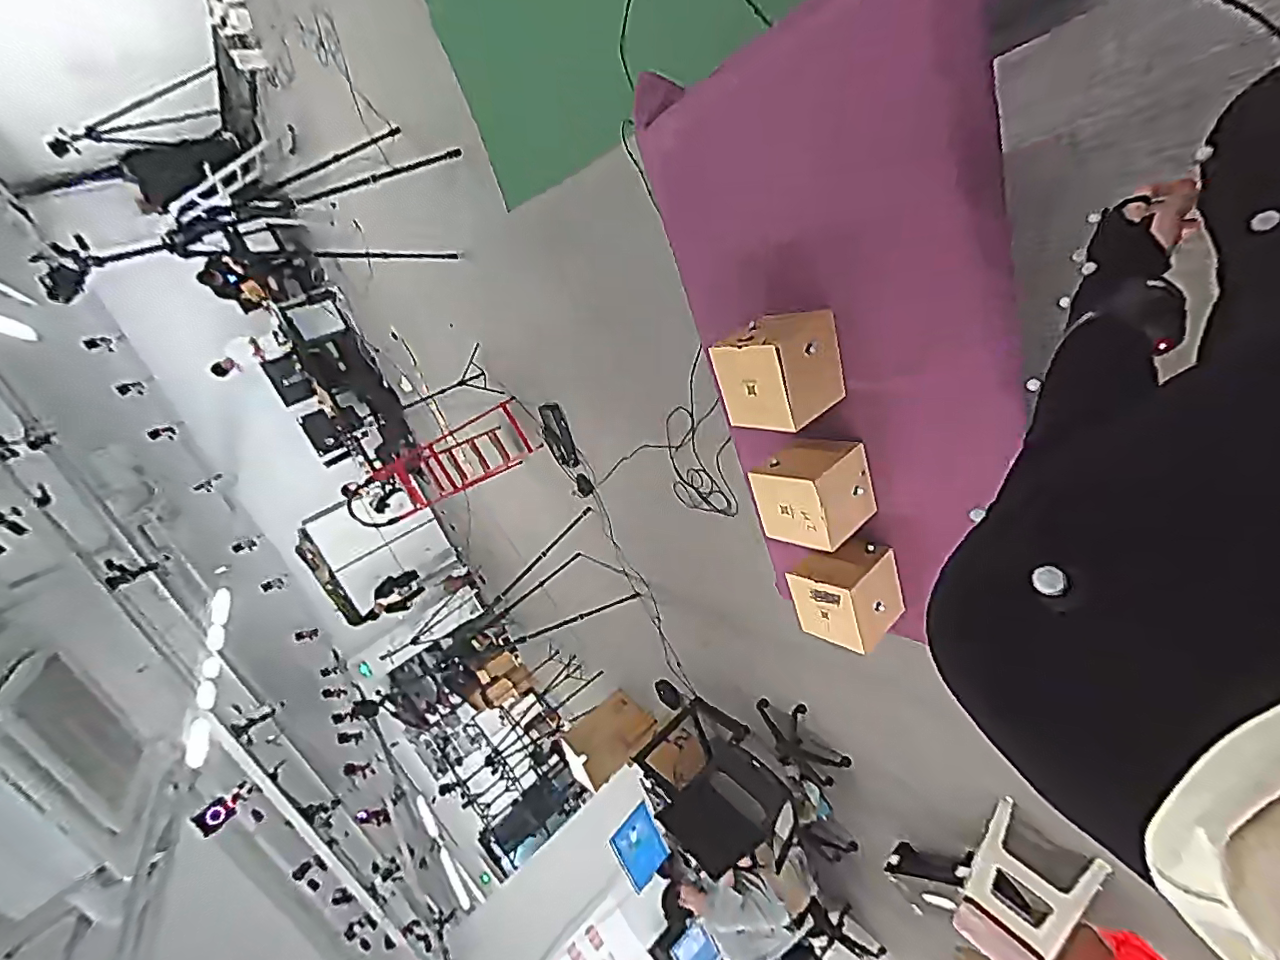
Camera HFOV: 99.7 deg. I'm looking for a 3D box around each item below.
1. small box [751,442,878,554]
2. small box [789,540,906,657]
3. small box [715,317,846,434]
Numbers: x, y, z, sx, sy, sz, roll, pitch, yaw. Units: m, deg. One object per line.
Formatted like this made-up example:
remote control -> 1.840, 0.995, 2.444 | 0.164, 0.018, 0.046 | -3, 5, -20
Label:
small box -> 0.370, 0.028, 1.144 | 0.179, 0.176, 0.168 | 10, 126, 53
small box -> 0.468, 0.254, 1.214 | 0.168, 0.176, 0.179 | 10, 127, 54
small box -> 0.278, -0.209, 1.054 | 0.168, 0.176, 0.179 | 15, 131, 52
